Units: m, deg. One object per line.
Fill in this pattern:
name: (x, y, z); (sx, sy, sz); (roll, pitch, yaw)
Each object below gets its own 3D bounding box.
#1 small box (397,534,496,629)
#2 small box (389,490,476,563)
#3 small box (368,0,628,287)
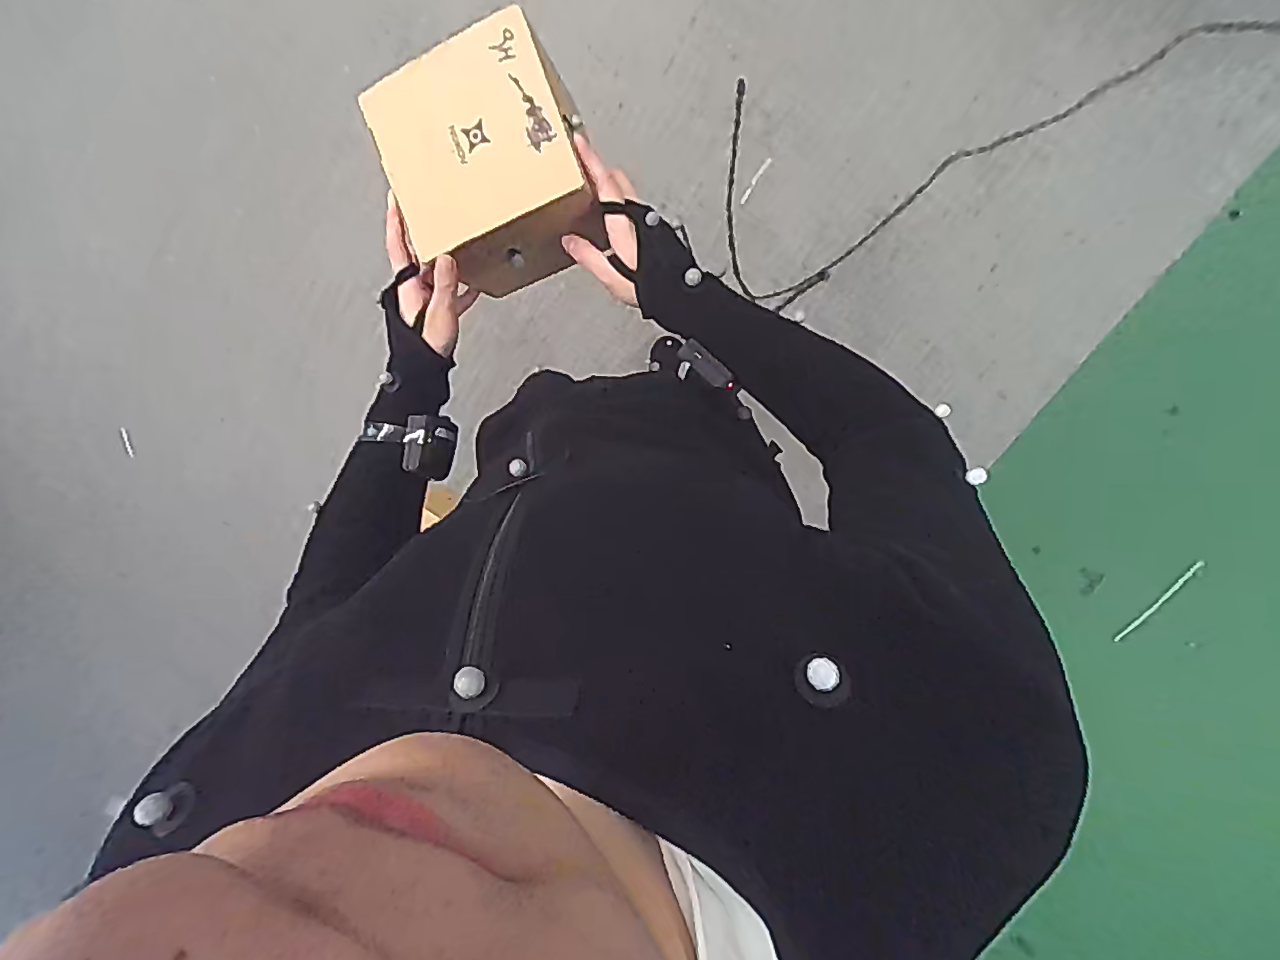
small box: (-0.533, 0.275, 1.514); (0.179, 0.176, 0.168); (31, 105, -1)
small box: (-0.627, 0.156, 1.662); (0.168, 0.176, 0.179); (32, 106, -4)
small box: (-0.131, -0.321, 0.560); (0.179, 0.176, 0.168); (-19, 94, 13)
